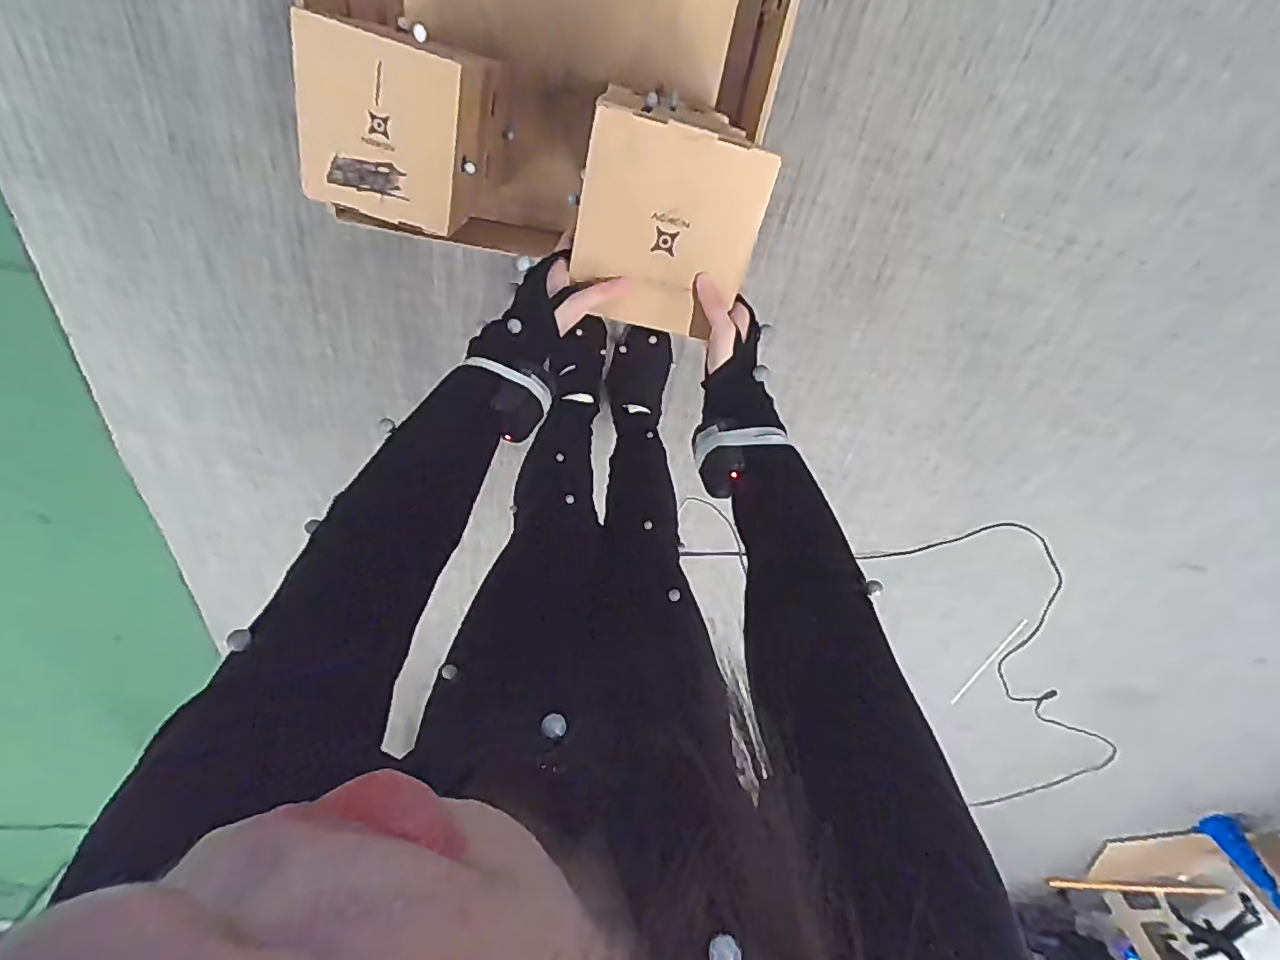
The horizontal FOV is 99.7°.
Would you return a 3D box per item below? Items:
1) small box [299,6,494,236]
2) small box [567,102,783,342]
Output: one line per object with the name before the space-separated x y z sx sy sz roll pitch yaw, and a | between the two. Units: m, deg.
small box | -0.282 -0.426 0.654 0.168 0.176 0.179 12 125 -11
small box | 0.023 -0.273 0.566 0.168 0.176 0.179 11 125 -10
